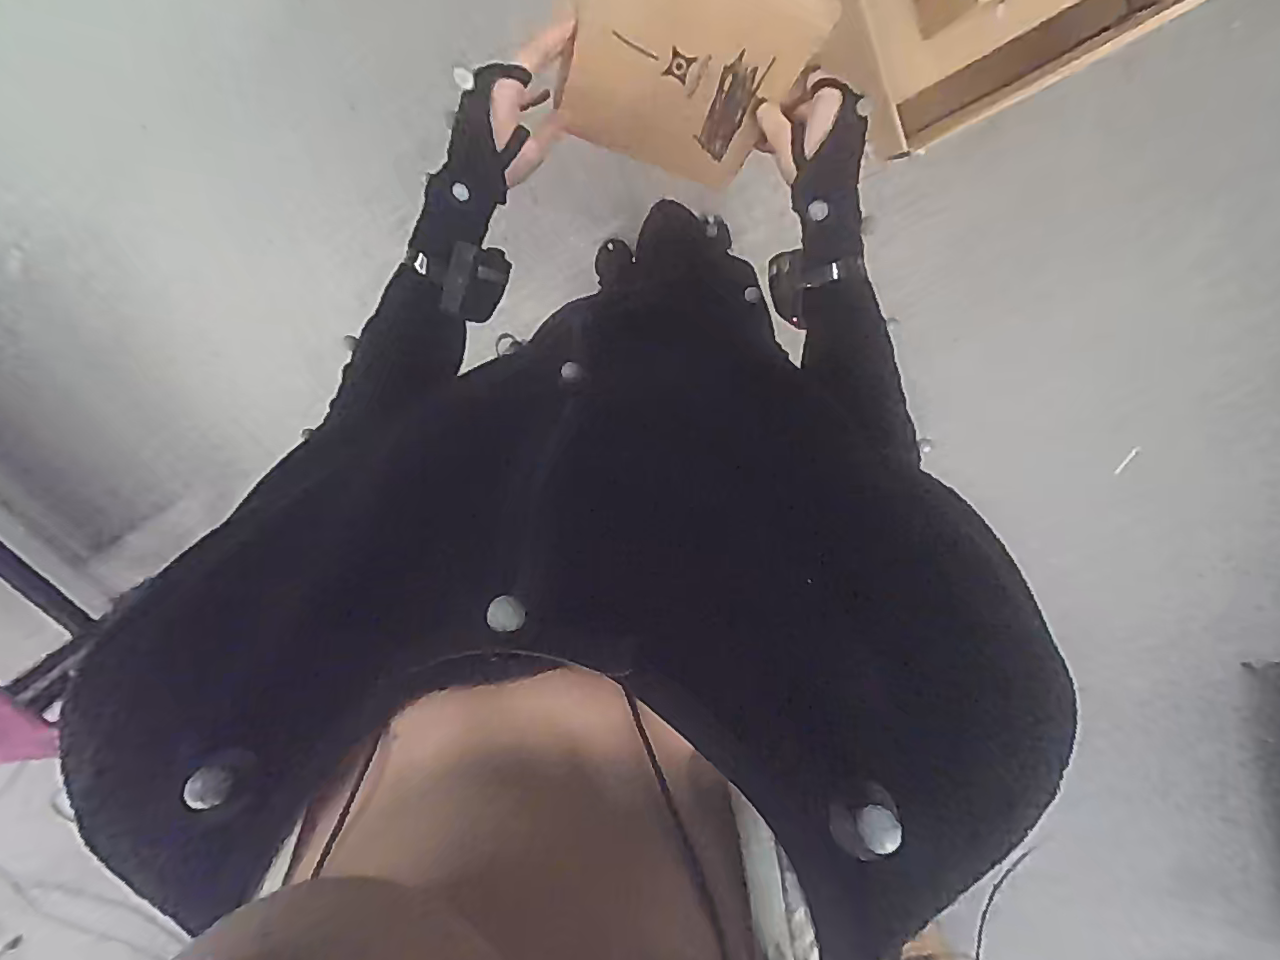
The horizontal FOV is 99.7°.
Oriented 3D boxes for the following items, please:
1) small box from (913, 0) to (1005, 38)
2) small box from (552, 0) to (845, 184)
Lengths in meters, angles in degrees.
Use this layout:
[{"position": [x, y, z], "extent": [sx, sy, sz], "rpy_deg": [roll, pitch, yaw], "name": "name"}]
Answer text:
[{"position": [0.455, -0.707, 0.671], "extent": [0.179, 0.176, 0.168], "rpy_deg": [-23, 111, 12], "name": "small box"}, {"position": [0.034, -0.399, 0.451], "extent": [0.179, 0.176, 0.168], "rpy_deg": [9, 152, -24], "name": "small box"}]
